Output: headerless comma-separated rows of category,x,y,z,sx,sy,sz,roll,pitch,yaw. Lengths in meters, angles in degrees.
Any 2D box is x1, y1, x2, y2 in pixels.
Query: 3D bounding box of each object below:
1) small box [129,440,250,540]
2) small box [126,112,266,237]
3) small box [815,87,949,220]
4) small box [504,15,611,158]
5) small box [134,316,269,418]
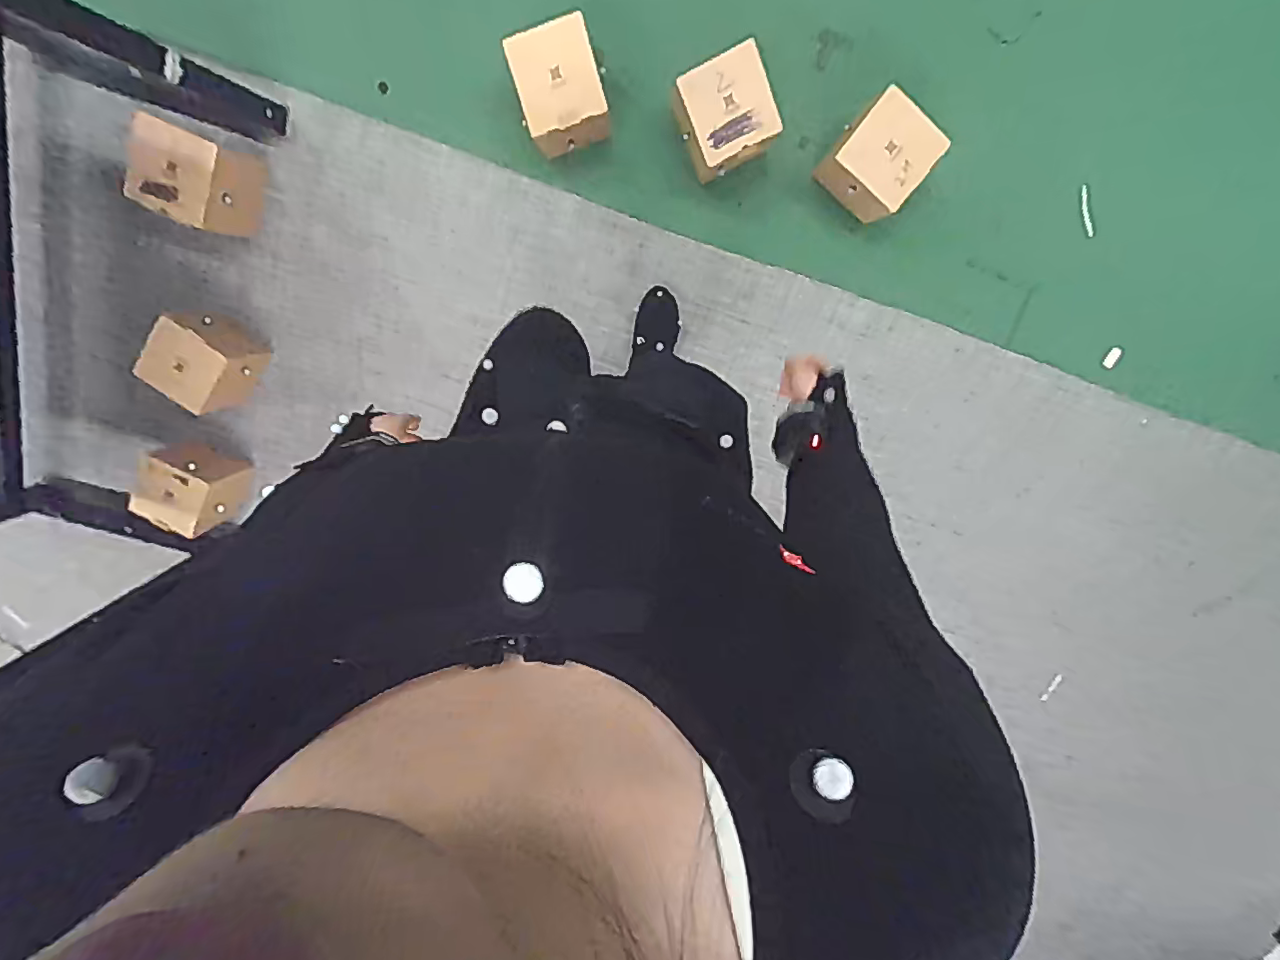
small box,-1.182,0.022,1.432,0.168,0.176,0.179,29,108,-10
small box,-0.969,-0.659,1.194,0.168,0.176,0.179,22,107,-8
small box,0.513,-0.692,1.177,0.179,0.176,0.168,36,106,-12
small box,-0.165,-0.815,1.139,0.168,0.176,0.179,-16,109,5
small box,-1.061,-0.285,1.325,0.168,0.176,0.179,37,107,-11
